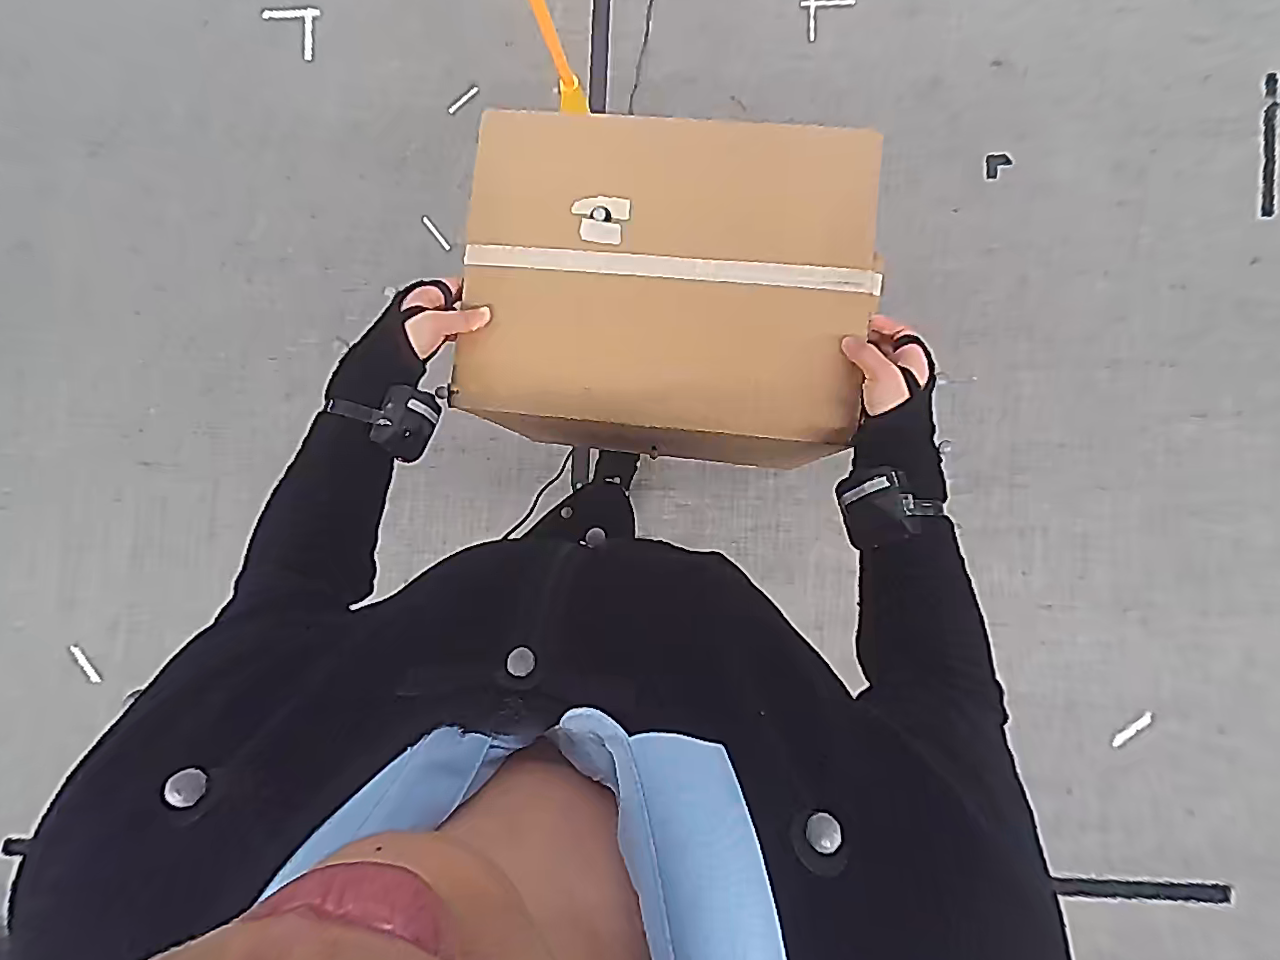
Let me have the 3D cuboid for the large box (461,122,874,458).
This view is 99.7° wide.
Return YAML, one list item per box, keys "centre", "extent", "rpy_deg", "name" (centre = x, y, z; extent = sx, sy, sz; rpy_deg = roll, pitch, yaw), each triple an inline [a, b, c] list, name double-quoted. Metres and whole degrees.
- centre: [0.040, -0.205, 0.695]
  extent: [0.408, 0.320, 0.320]
  rpy_deg: [6, 86, 6]
  name: "large box"
